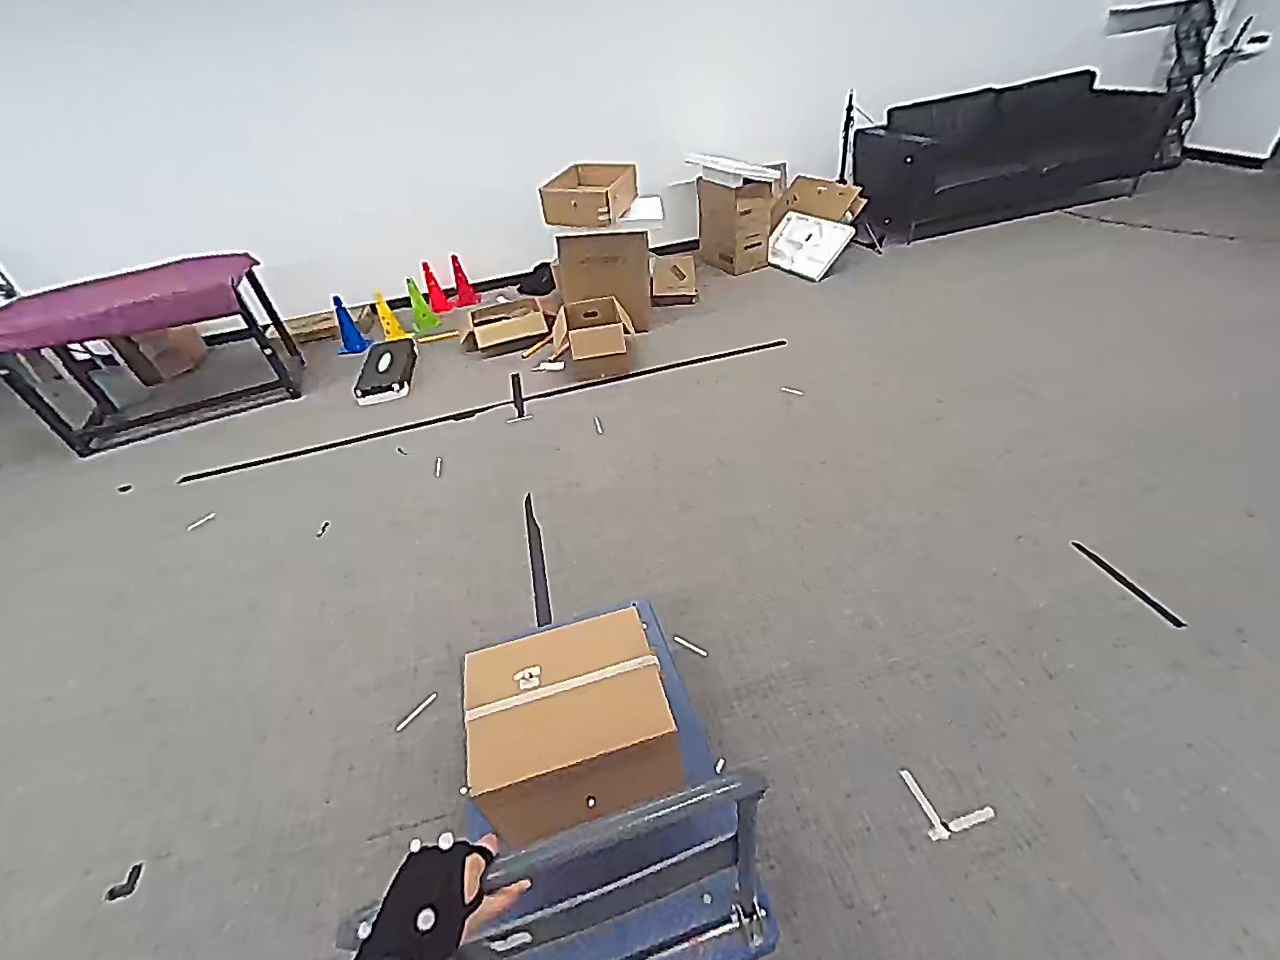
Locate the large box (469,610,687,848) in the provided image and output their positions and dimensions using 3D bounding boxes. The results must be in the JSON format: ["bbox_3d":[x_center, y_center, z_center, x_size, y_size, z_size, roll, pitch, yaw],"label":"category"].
[{"bbox_3d":[-0.139,0.562,1.236,0.408,0.320,0.320,-16,39,-7],"label":"large box"}]
